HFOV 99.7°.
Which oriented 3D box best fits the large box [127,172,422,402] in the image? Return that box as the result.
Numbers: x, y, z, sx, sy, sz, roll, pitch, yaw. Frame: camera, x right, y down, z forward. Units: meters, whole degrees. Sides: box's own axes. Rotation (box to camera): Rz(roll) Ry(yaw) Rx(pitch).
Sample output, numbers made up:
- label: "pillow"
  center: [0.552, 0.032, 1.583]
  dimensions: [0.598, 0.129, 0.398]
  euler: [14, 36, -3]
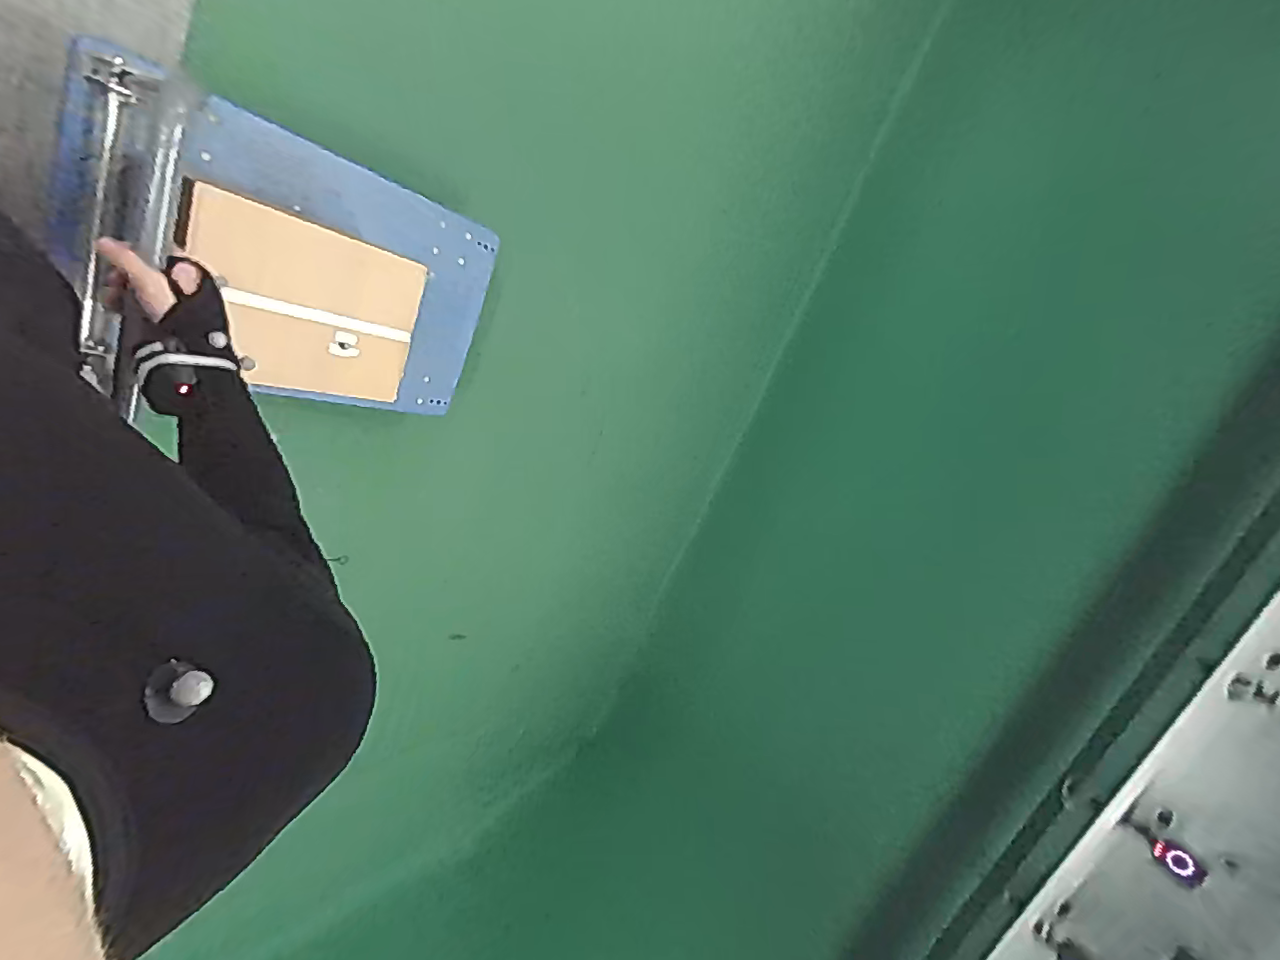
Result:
- label: "large box"
  center: [-0.744, -0.376, 1.114]
  dimensions: [0.408, 0.320, 0.320]
  euler: [1, 115, -55]
